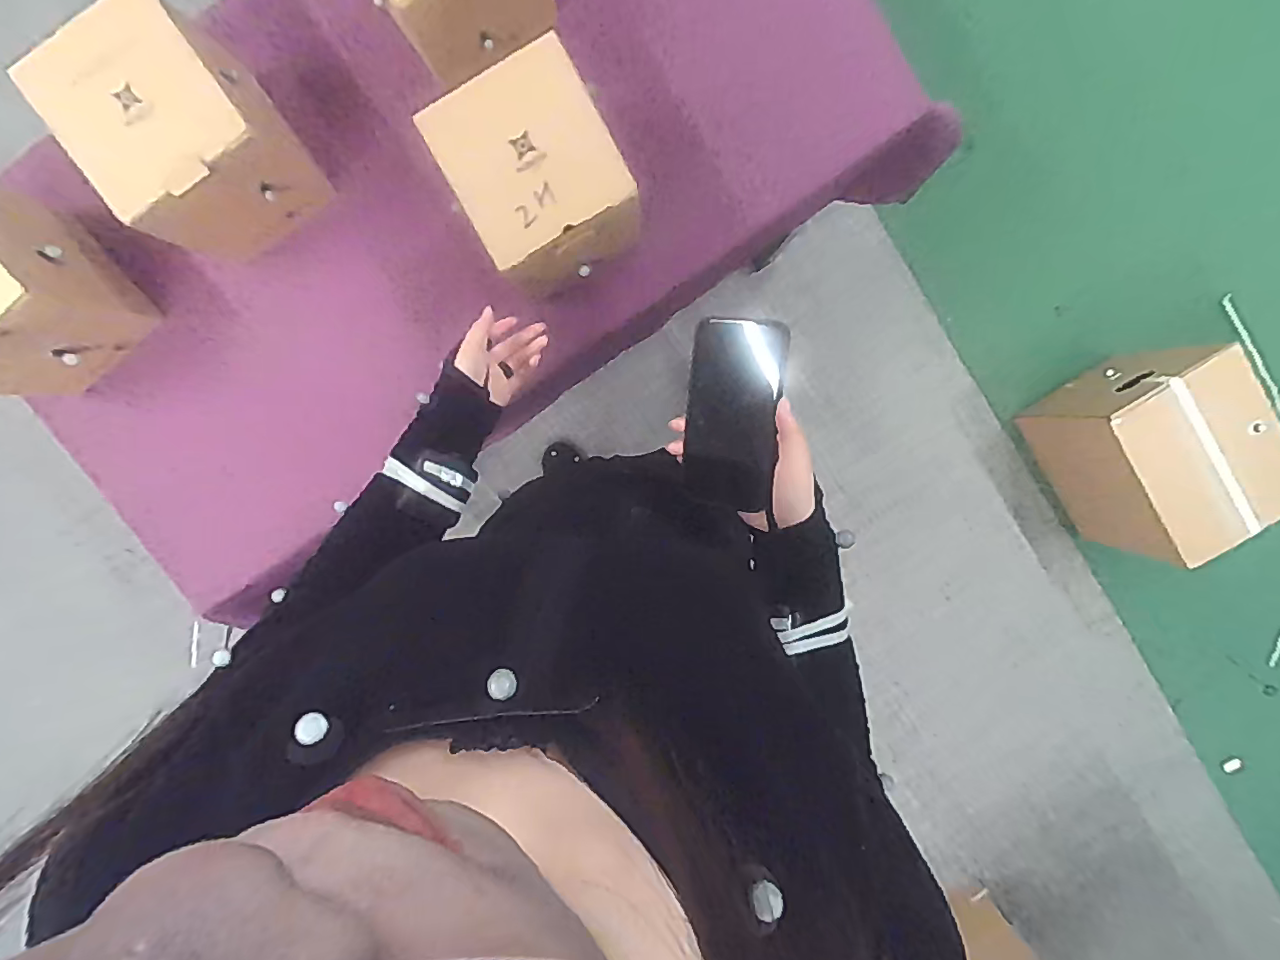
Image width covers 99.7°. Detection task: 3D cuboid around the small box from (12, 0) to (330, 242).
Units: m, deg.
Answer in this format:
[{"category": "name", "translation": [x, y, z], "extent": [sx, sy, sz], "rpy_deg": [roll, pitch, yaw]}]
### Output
[{"category": "small box", "translation": [-0.502, -0.397, 0.613], "extent": [0.168, 0.176, 0.179], "rpy_deg": [-33, 97, 3]}]

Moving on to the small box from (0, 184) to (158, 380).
[{"category": "small box", "translation": [-0.743, -0.232, 0.636], "extent": [0.168, 0.176, 0.179], "rpy_deg": [-38, 98, 4]}]

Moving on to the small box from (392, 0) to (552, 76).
[{"category": "small box", "translation": [-0.218, -0.598, 0.583], "extent": [0.168, 0.176, 0.179], "rpy_deg": [-36, 98, 5]}]

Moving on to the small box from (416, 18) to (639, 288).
[{"category": "small box", "translation": [-0.113, -0.348, 0.618], "extent": [0.168, 0.176, 0.179], "rpy_deg": [-28, 98, 5]}]
